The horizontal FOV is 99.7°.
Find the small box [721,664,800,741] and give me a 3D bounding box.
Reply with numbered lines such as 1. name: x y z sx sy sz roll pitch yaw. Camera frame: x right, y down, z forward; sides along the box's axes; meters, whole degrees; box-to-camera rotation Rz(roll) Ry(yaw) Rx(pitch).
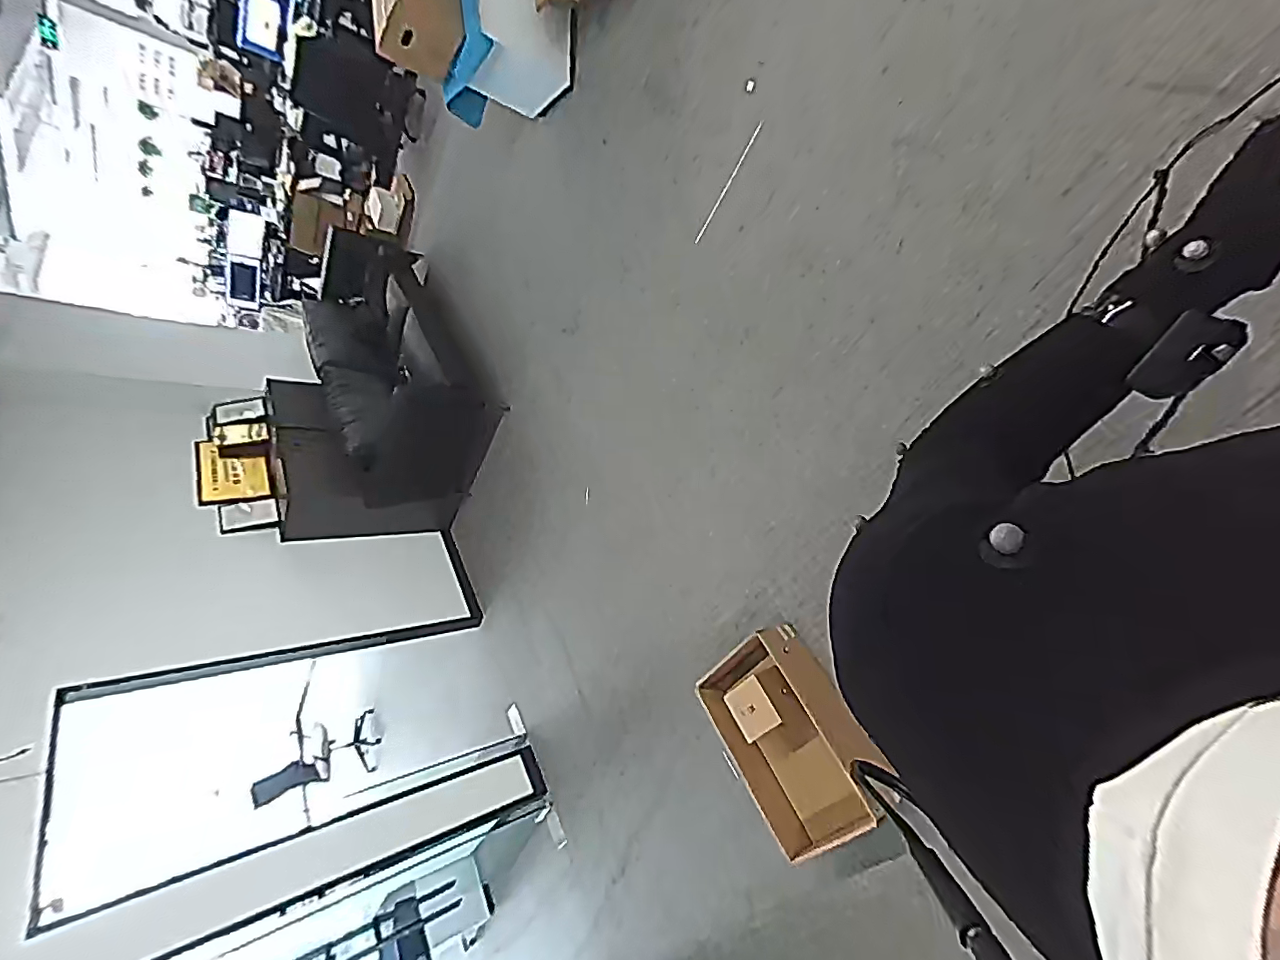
1. small box: 0.416 0.747 1.832 0.179 0.176 0.168 -53 53 34
